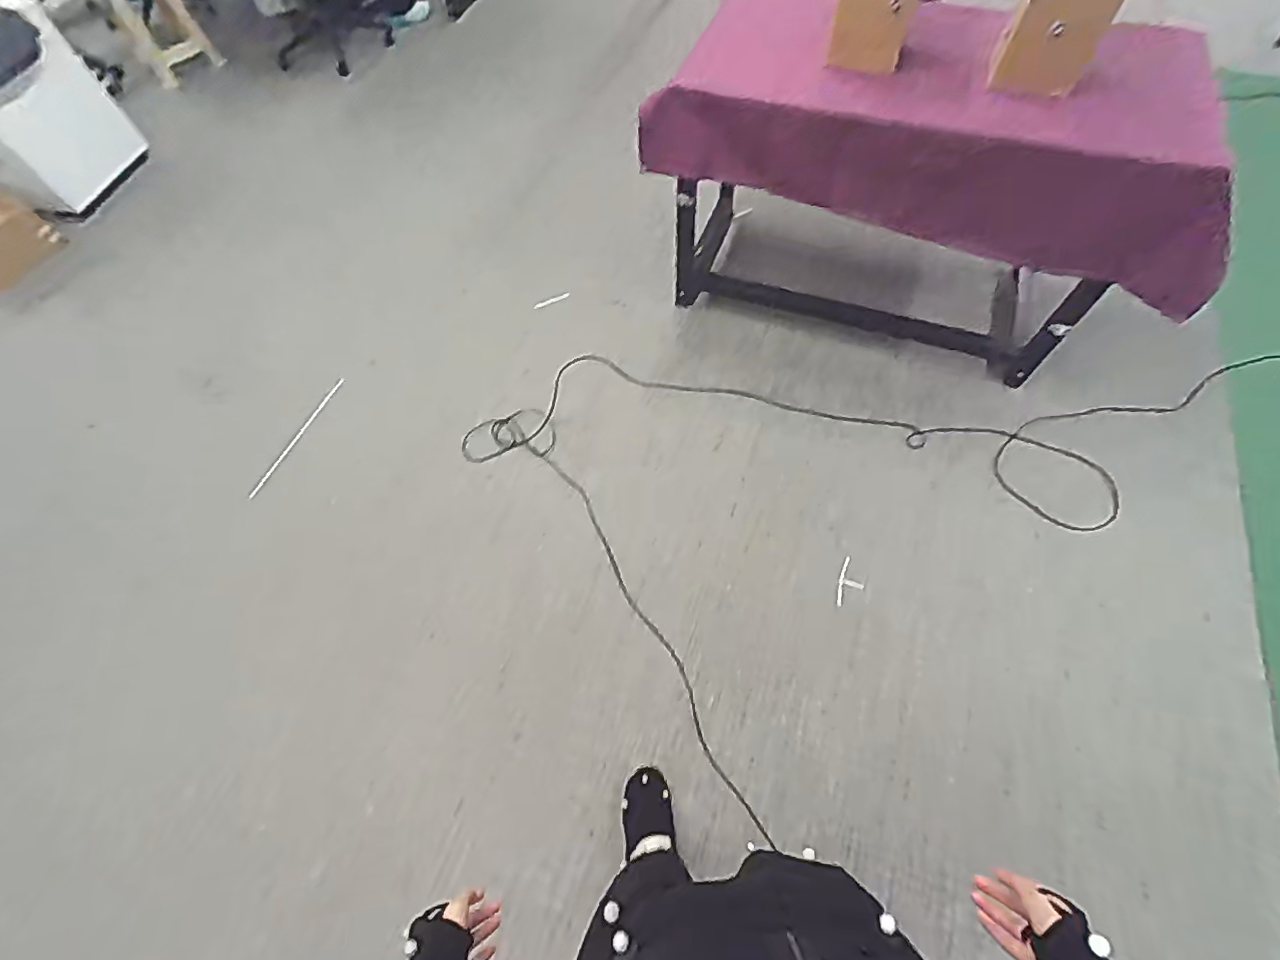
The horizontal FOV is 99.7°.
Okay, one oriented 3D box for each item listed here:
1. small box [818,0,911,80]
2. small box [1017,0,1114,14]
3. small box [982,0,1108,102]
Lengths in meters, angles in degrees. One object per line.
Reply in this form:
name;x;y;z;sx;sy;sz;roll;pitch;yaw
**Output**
small box;0.550;-1.114;1.320;0.179;0.176;0.168;16;63;11
small box;0.905;-1.079;1.090;0.179;0.176;0.168;16;64;13
small box;0.913;-0.999;1.232;0.179;0.176;0.168;18;64;12
